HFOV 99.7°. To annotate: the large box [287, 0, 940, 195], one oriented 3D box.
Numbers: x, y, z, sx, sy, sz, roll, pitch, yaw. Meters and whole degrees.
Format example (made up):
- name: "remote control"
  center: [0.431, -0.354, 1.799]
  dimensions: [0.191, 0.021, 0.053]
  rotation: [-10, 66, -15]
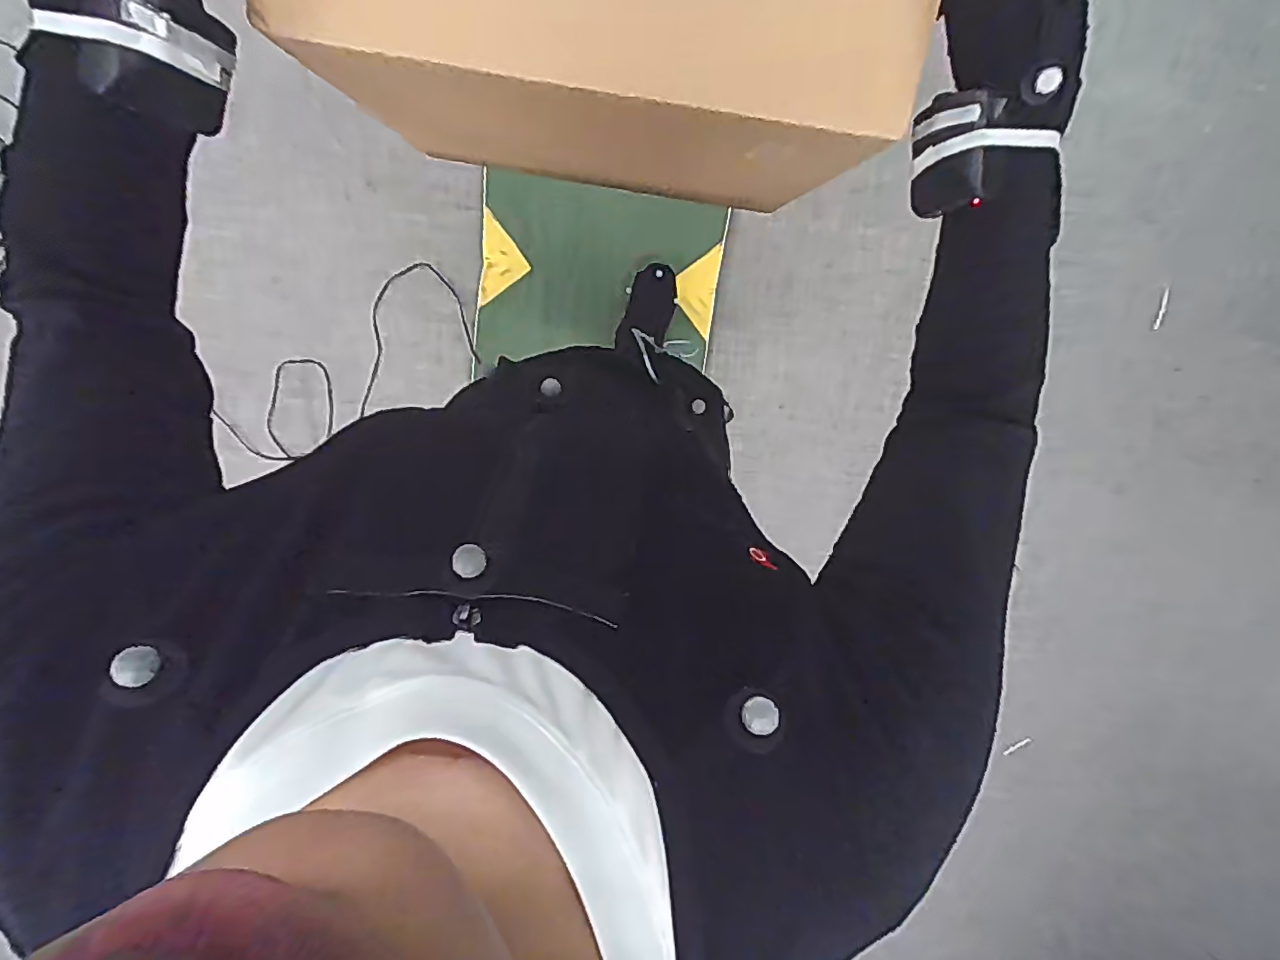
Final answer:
- name: "large box"
  center: [-0.007, -0.448, 0.433]
  dimensions: [0.408, 0.320, 0.320]
  rotation: [6, 109, -6]
